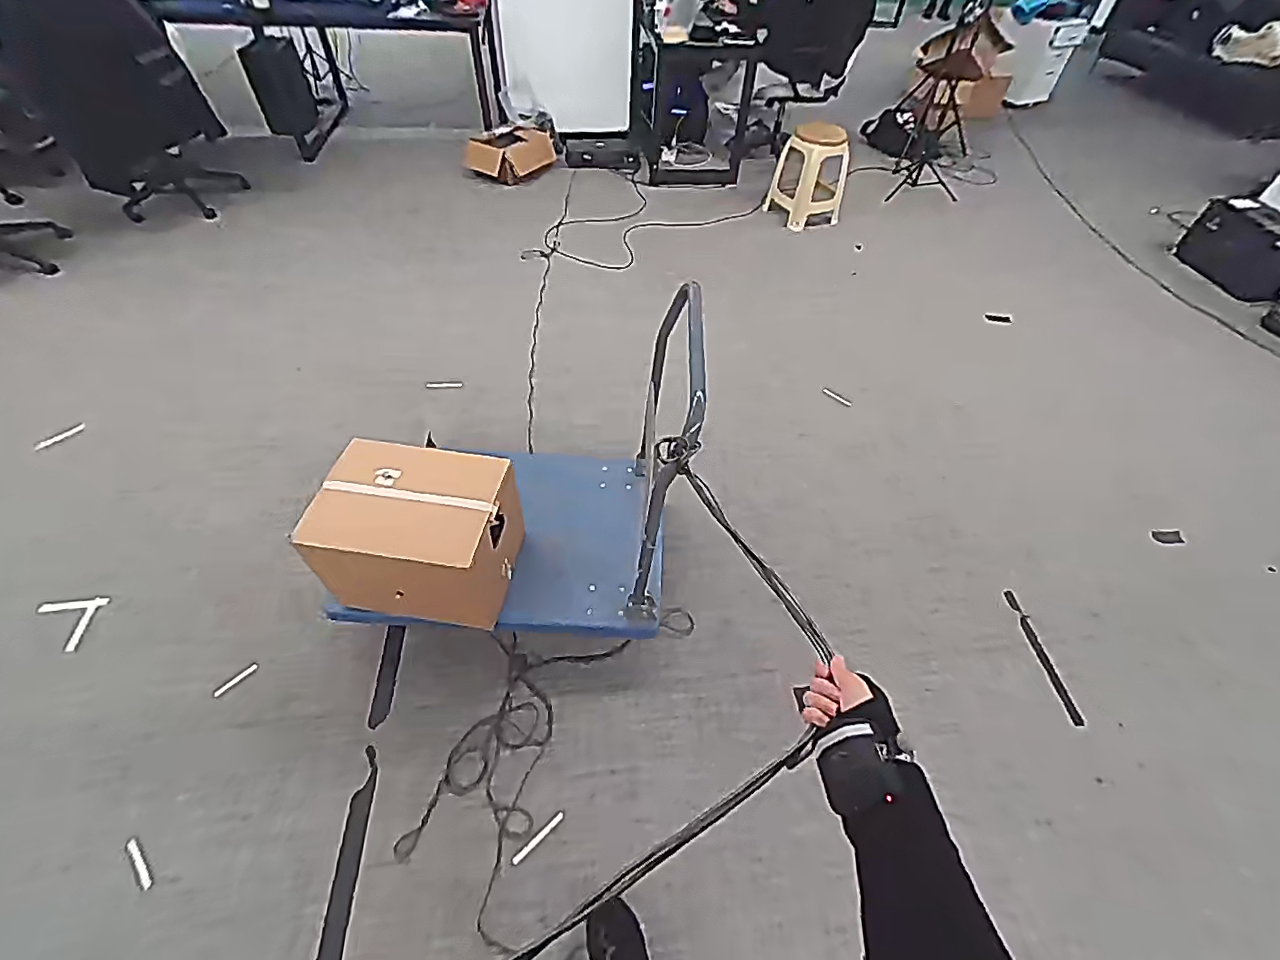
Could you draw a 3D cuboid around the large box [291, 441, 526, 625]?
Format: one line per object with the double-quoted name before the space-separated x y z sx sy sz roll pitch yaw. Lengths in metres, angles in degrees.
"large box" -0.529 0.137 1.343 0.408 0.320 0.320 7 50 3
